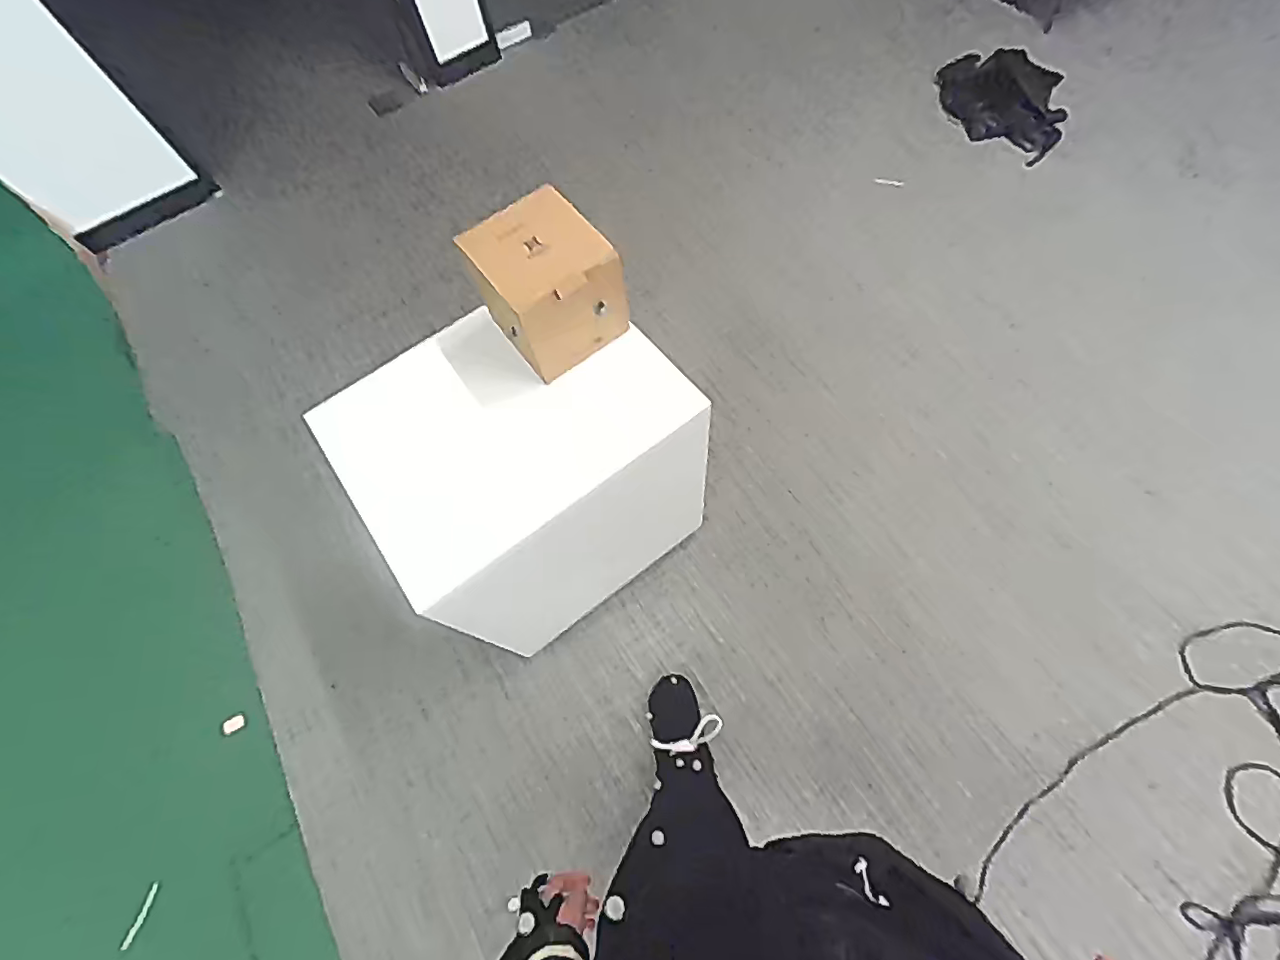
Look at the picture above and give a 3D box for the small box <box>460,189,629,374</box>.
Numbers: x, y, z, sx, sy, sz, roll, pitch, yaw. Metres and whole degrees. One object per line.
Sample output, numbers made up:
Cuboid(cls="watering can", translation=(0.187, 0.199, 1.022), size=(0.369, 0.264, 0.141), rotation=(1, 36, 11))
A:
Cuboid(cls="small box", translation=(-0.132, -0.284, 0.812), size=(0.168, 0.176, 0.179), rotation=(-35, 68, -11))
